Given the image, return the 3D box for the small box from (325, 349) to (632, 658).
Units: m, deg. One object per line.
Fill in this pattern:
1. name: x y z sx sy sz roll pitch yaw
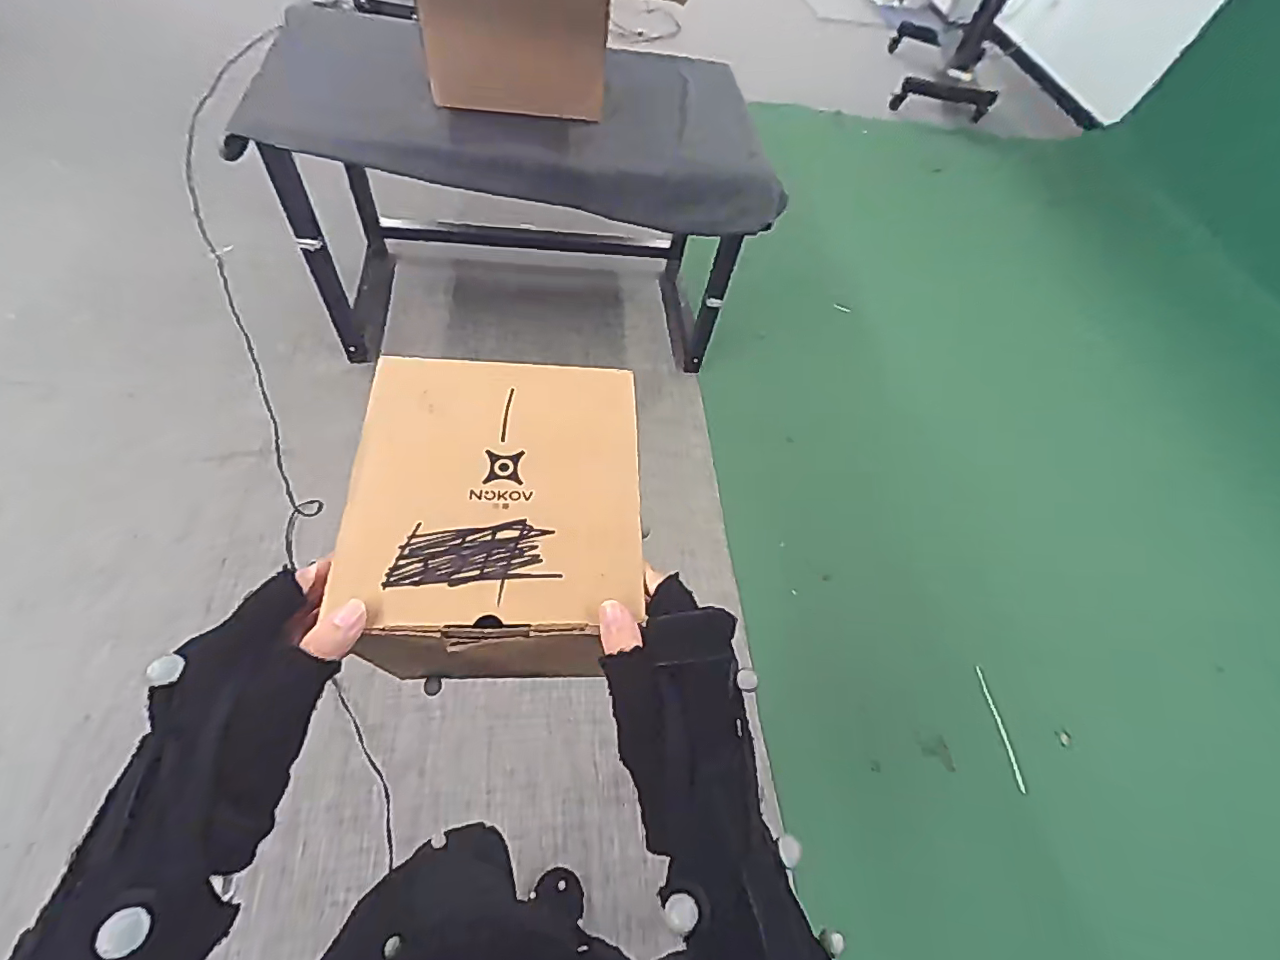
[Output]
1. small box: -0.096 0.030 0.397 0.168 0.176 0.179 2 61 -8
